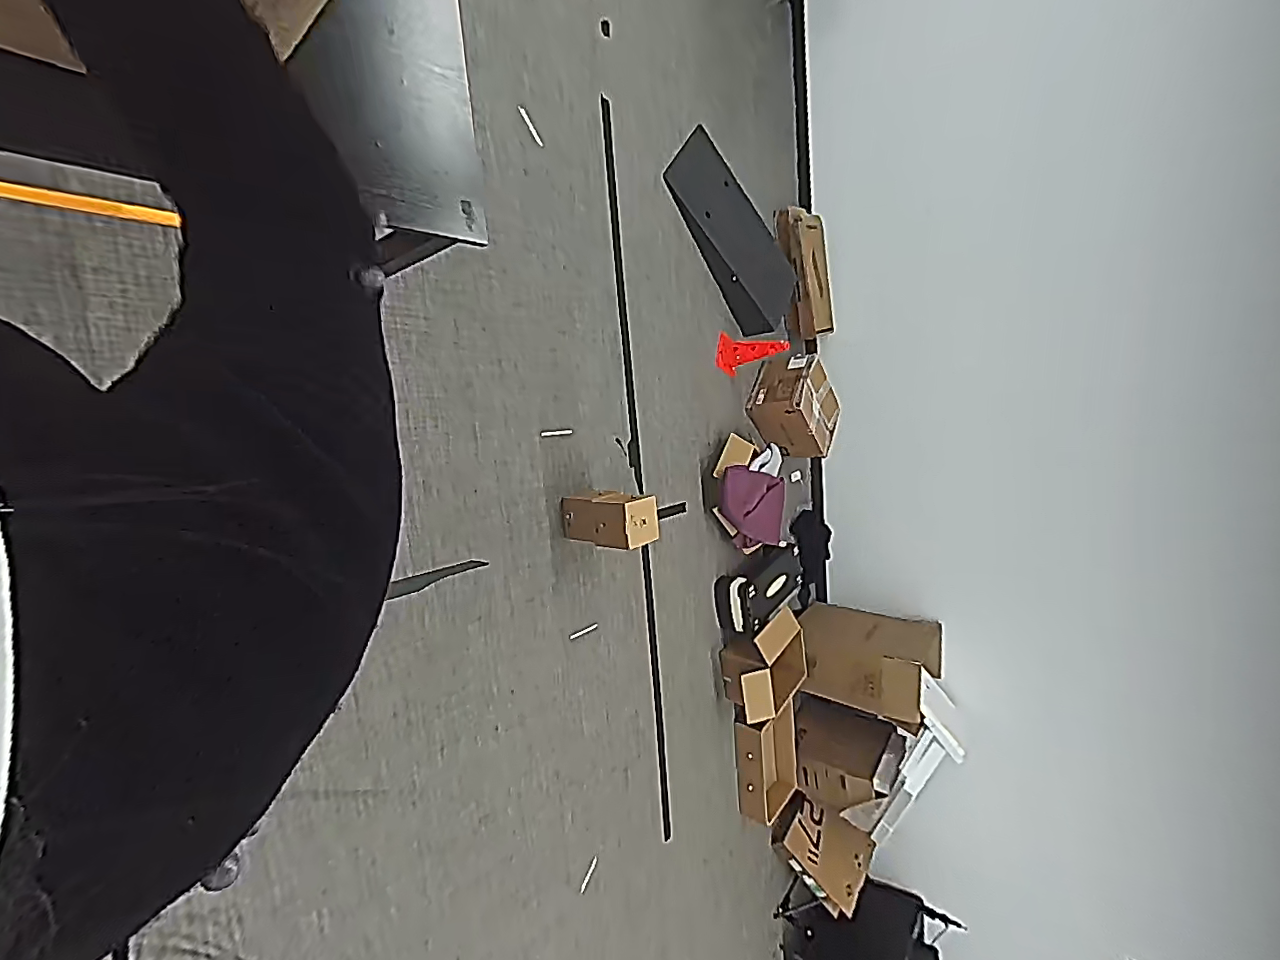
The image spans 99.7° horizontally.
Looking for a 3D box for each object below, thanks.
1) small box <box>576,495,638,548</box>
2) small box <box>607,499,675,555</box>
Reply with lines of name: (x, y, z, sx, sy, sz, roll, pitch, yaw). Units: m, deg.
small box: (-0.120, 0.151, 2.053, 0.179, 0.176, 0.168, -14, 102, -48)
small box: (0.003, 0.164, 1.943, 0.179, 0.176, 0.168, -14, 101, -49)
